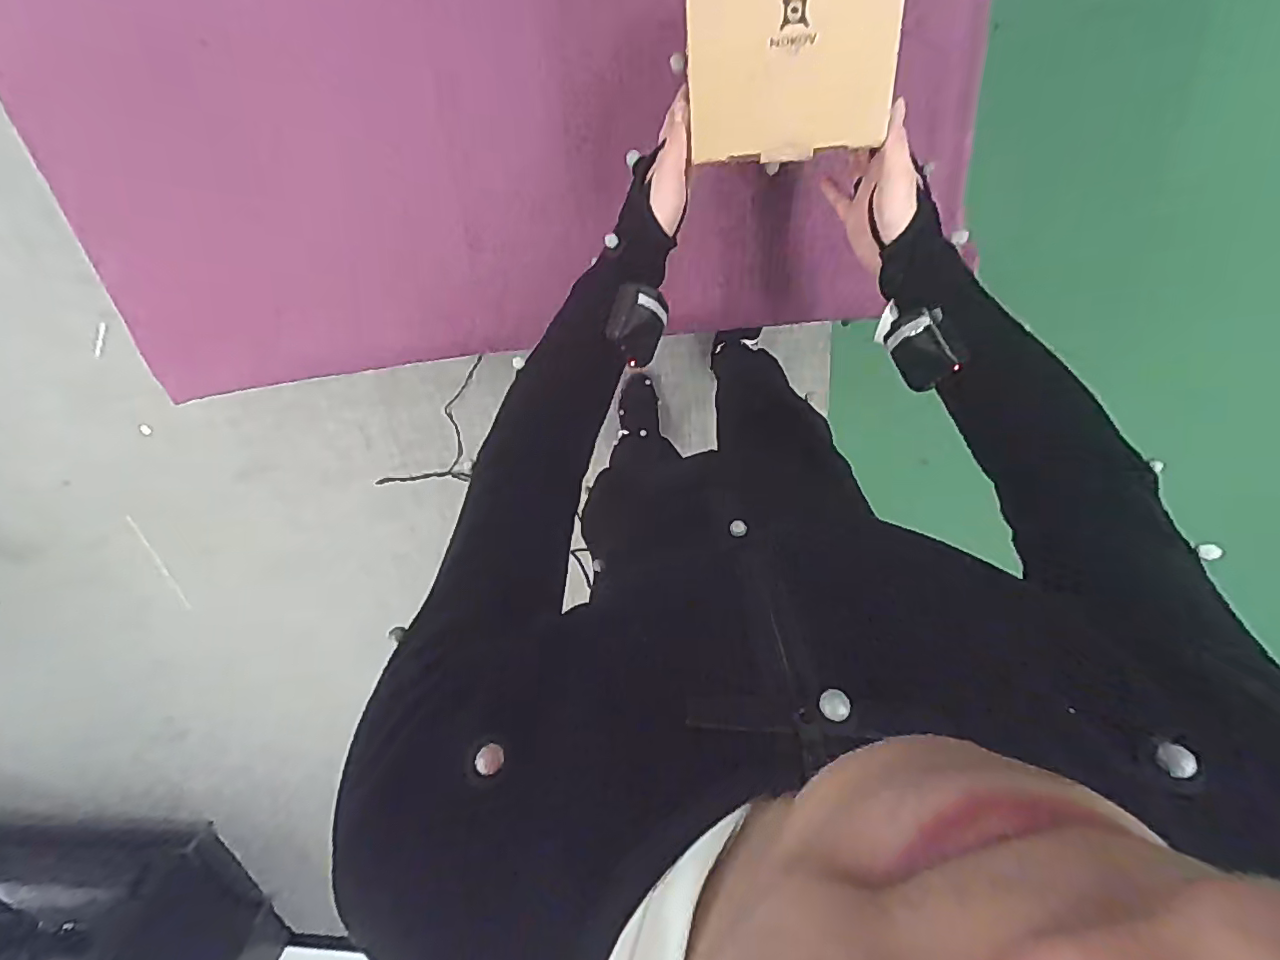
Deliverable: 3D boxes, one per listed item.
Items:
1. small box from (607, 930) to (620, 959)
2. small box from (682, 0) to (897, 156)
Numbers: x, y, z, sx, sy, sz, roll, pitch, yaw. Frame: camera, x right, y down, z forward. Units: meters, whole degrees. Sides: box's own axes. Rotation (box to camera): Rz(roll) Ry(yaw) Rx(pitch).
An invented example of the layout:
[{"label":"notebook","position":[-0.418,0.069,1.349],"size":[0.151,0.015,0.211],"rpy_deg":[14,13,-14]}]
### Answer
[{"label":"small box","position":[-0.165,1.669,1.844],"size":[0.168,0.176,0.179],"rpy_deg":[0,114,8]},{"label":"small box","position":[0.122,-0.404,0.488],"size":[0.168,0.176,0.179],"rpy_deg":[-2,122,6]}]
